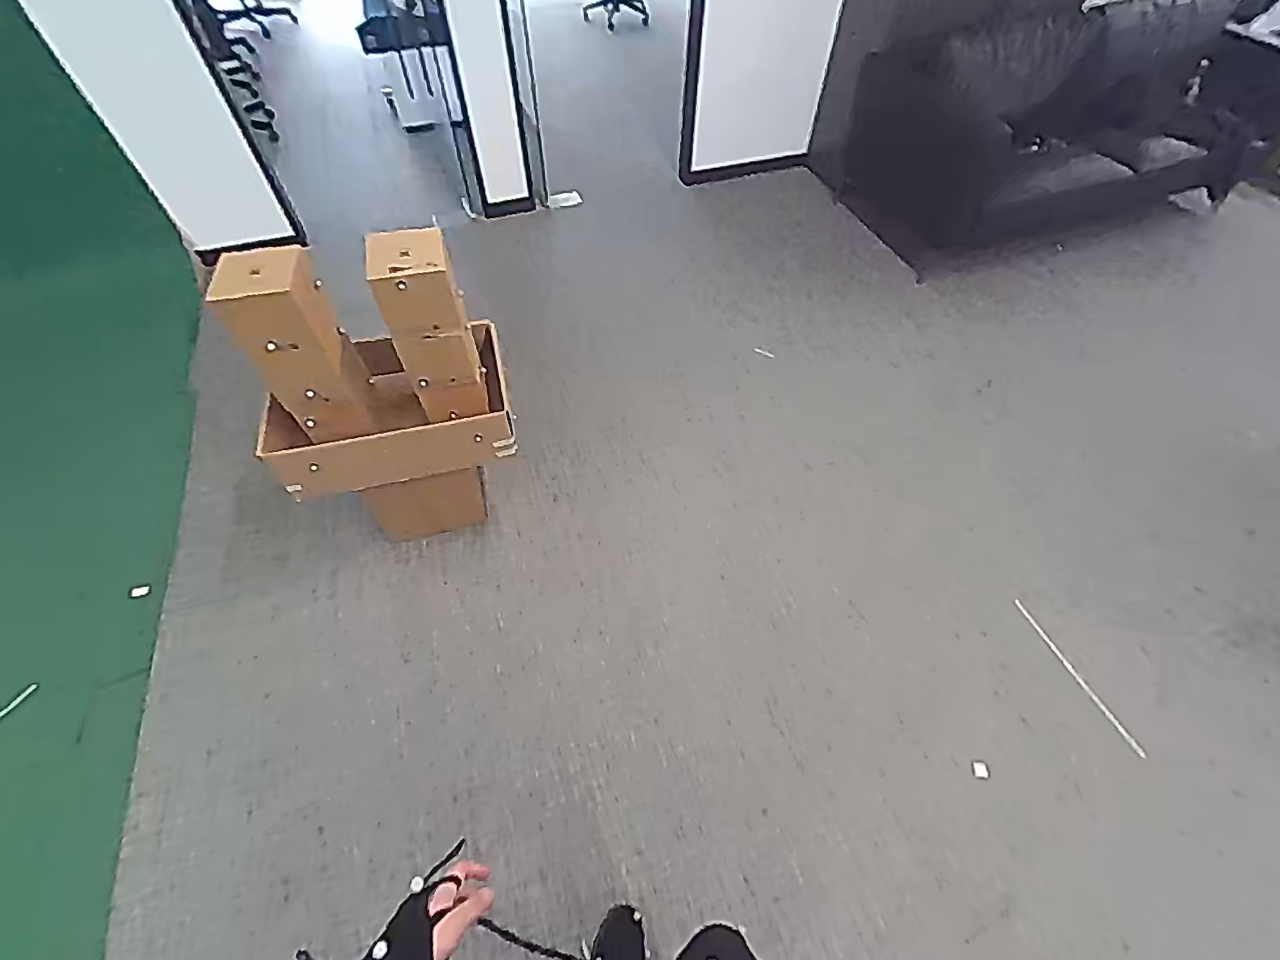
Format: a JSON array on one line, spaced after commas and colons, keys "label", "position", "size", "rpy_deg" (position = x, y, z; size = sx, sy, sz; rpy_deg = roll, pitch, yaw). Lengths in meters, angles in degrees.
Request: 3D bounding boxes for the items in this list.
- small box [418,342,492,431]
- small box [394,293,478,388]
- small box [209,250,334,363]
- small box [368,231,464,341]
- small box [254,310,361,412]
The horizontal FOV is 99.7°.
[{"label": "small box", "position": [-0.527, -0.266, 1.542], "size": [0.168, 0.176, 0.179], "rpy_deg": [-11, 56, -9]}, {"label": "small box", "position": [-0.525, -0.355, 1.404], "size": [0.168, 0.176, 0.179], "rpy_deg": [-10, 55, -9]}, {"label": "small box", "position": [-0.817, -0.391, 1.223], "size": [0.168, 0.176, 0.179], "rpy_deg": [-11, 55, -7]}, {"label": "small box", "position": [-0.523, -0.455, 1.273], "size": [0.168, 0.176, 0.179], "rpy_deg": [-13, 56, -10]}, {"label": "small box", "position": [-0.820, -0.296, 1.356], "size": [0.168, 0.176, 0.179], "rpy_deg": [-10, 55, -7]}]
